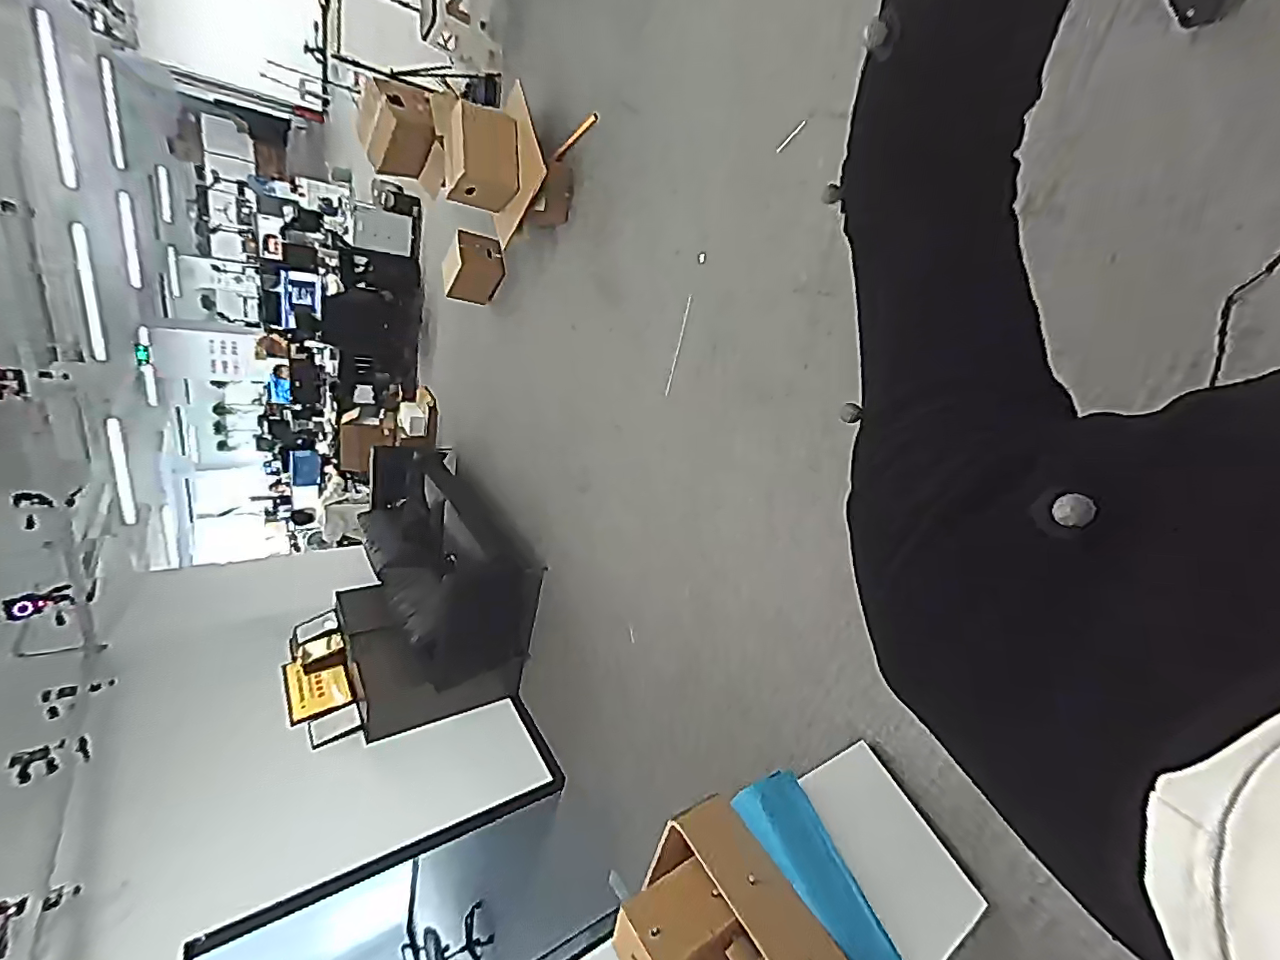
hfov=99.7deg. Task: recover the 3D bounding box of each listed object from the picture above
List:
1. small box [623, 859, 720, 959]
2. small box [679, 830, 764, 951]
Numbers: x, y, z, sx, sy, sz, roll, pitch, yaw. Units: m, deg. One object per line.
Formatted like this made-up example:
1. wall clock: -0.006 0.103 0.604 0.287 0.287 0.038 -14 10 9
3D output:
1. small box: 0.081 1.136 1.393 0.179 0.176 0.168 36 124 46
2. small box: 0.212 1.118 1.488 0.179 0.176 0.168 37 125 45
